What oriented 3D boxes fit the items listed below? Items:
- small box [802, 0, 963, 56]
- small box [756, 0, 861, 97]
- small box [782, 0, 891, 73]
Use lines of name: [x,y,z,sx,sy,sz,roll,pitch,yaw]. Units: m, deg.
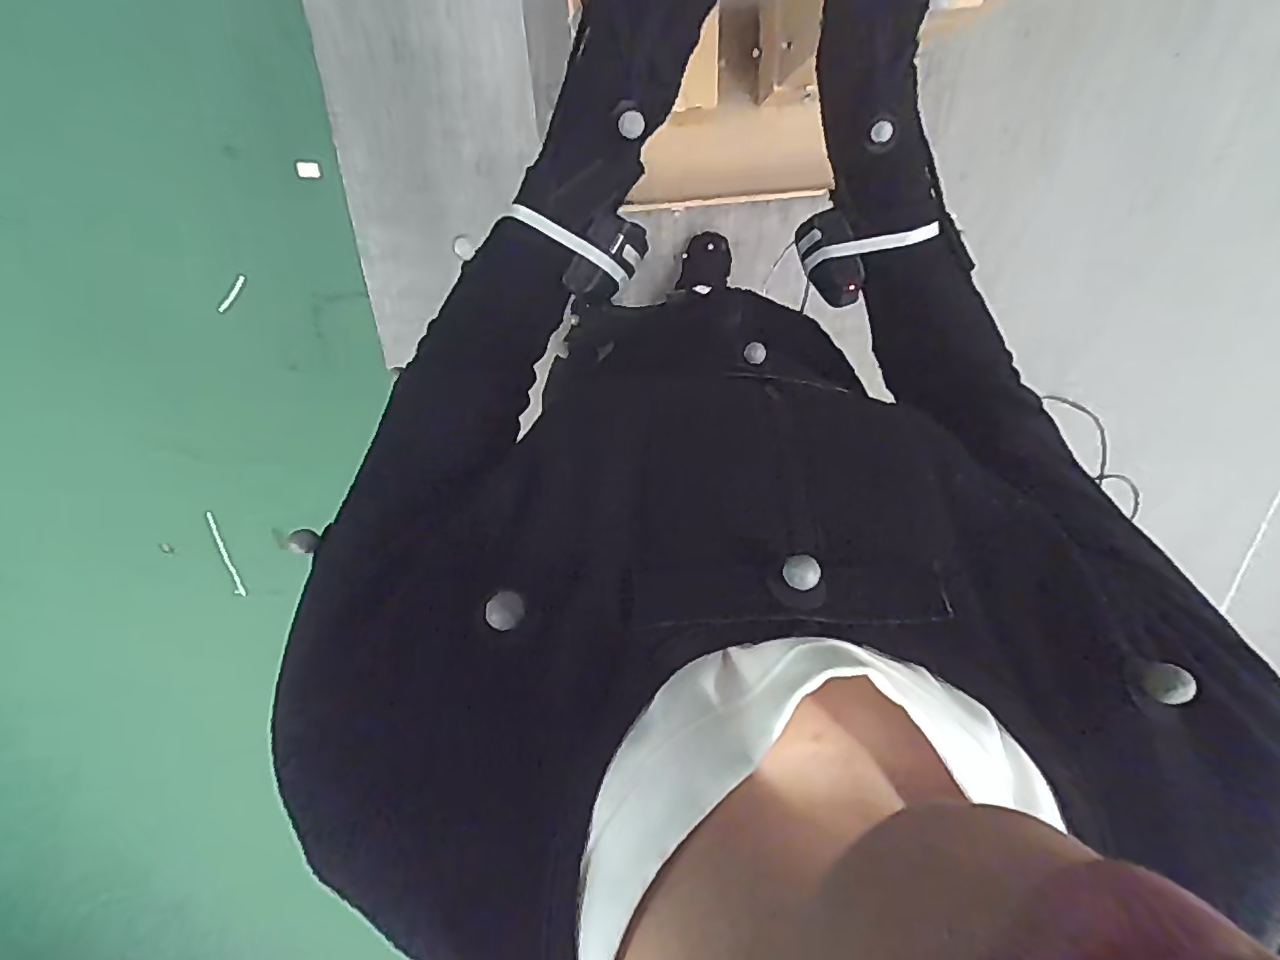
small box: [0.322,-0.692,0.722,0.168,0.176,0.179,-3,116,2]
small box: [0.314,-0.842,1.014,0.168,0.176,0.179,-6,116,6]
small box: [0.325,-0.763,0.851,0.168,0.176,0.179,-3,116,3]
